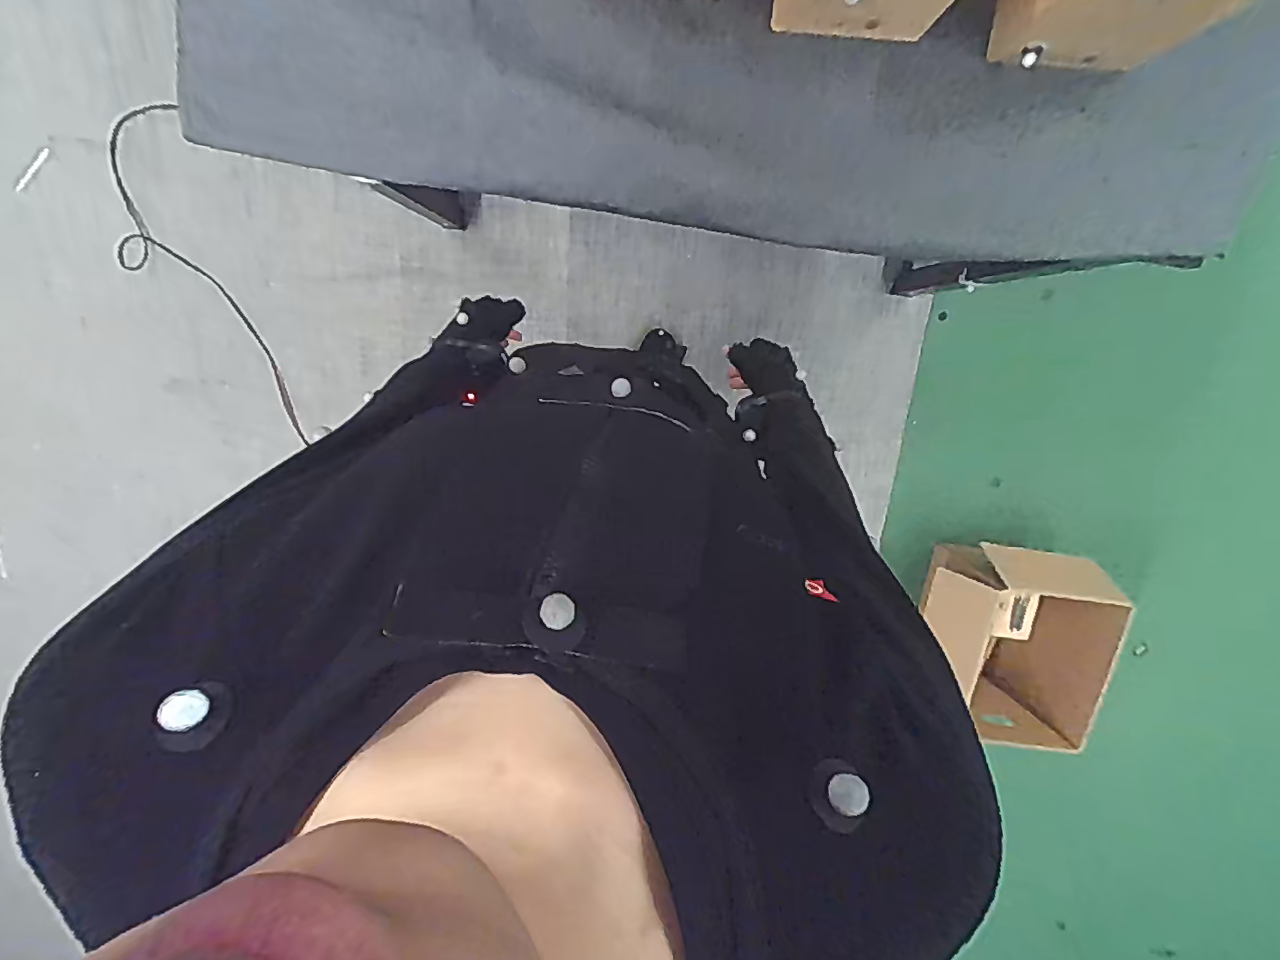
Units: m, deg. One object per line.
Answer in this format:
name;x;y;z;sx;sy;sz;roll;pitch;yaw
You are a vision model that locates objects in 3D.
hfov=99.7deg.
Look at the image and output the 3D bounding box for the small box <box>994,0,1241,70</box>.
small box;0.470;-0.519;0.501;0.168;0.176;0.179;4;104;-1
